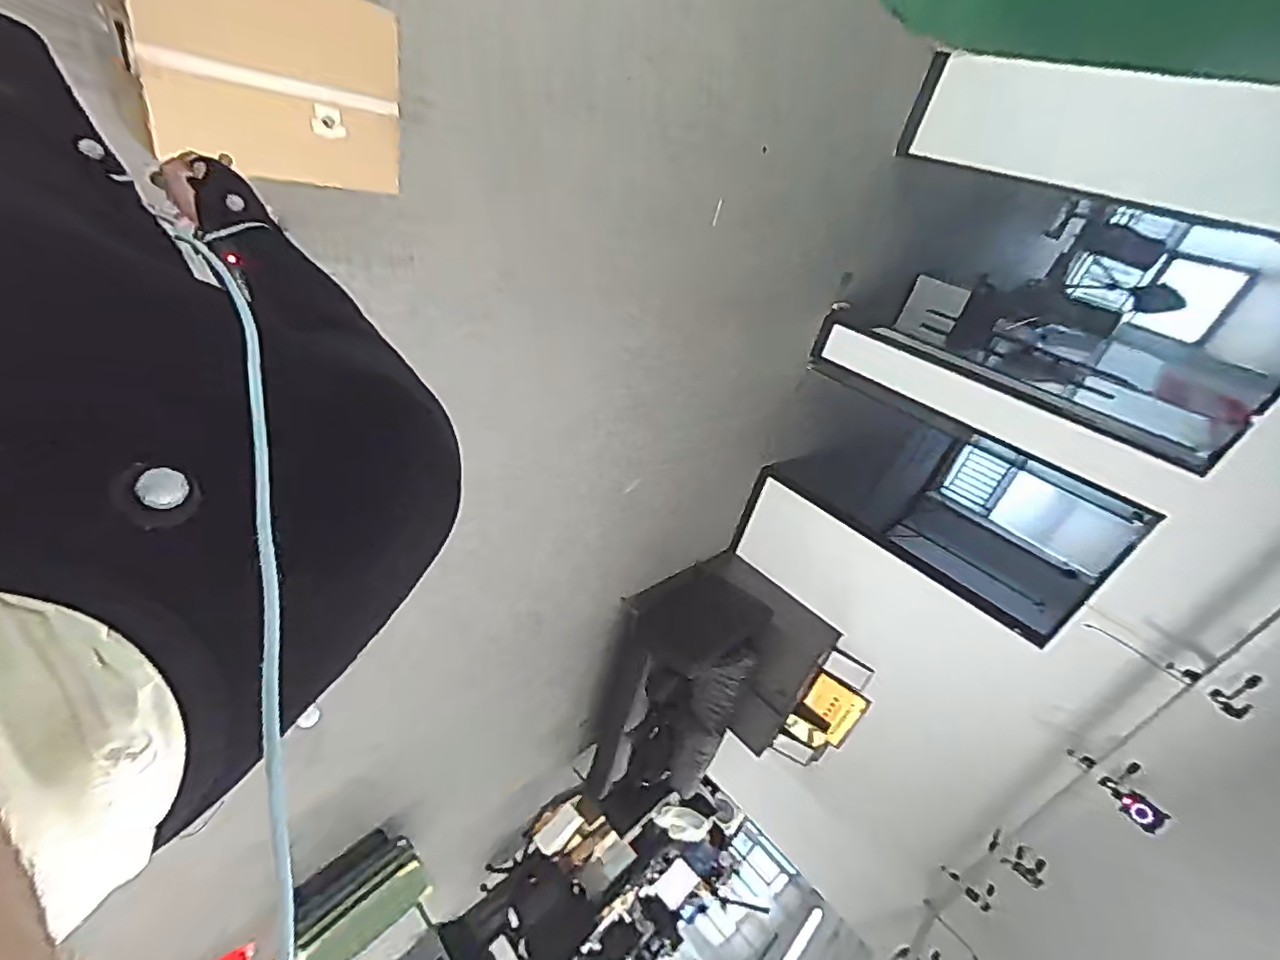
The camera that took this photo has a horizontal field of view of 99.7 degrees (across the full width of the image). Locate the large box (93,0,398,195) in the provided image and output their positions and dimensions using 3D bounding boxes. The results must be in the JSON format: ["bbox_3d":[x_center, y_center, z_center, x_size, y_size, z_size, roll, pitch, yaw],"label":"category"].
[{"bbox_3d":[-0.733,-0.765,1.034,0.408,0.320,0.320,-19,134,-43],"label":"large box"}]
